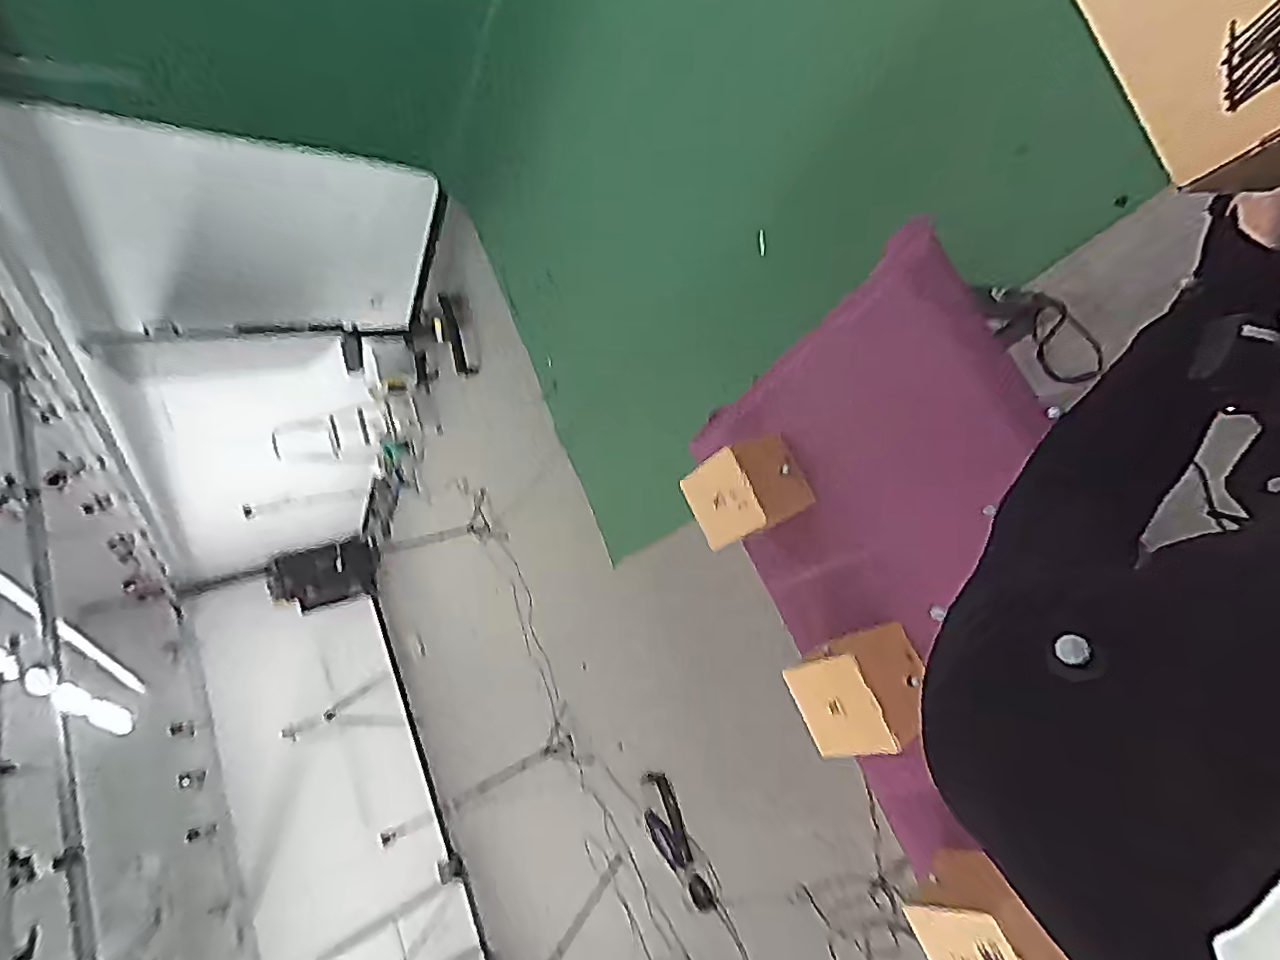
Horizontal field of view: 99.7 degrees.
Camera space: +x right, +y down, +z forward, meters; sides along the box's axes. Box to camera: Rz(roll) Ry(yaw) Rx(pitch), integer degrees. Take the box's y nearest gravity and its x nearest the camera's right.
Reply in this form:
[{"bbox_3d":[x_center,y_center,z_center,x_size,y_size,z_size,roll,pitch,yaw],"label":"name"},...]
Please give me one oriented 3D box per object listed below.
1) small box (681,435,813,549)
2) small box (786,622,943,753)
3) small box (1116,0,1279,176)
[{"bbox_3d":[0.225,0.024,1.138,0.179,0.176,0.168,-42,70,49],"label":"small box"},{"bbox_3d":[0.418,0.386,1.012,0.179,0.176,0.168,-43,67,48],"label":"small box"},{"bbox_3d":[0.360,-0.275,0.250,0.168,0.176,0.179,-31,78,61],"label":"small box"}]
